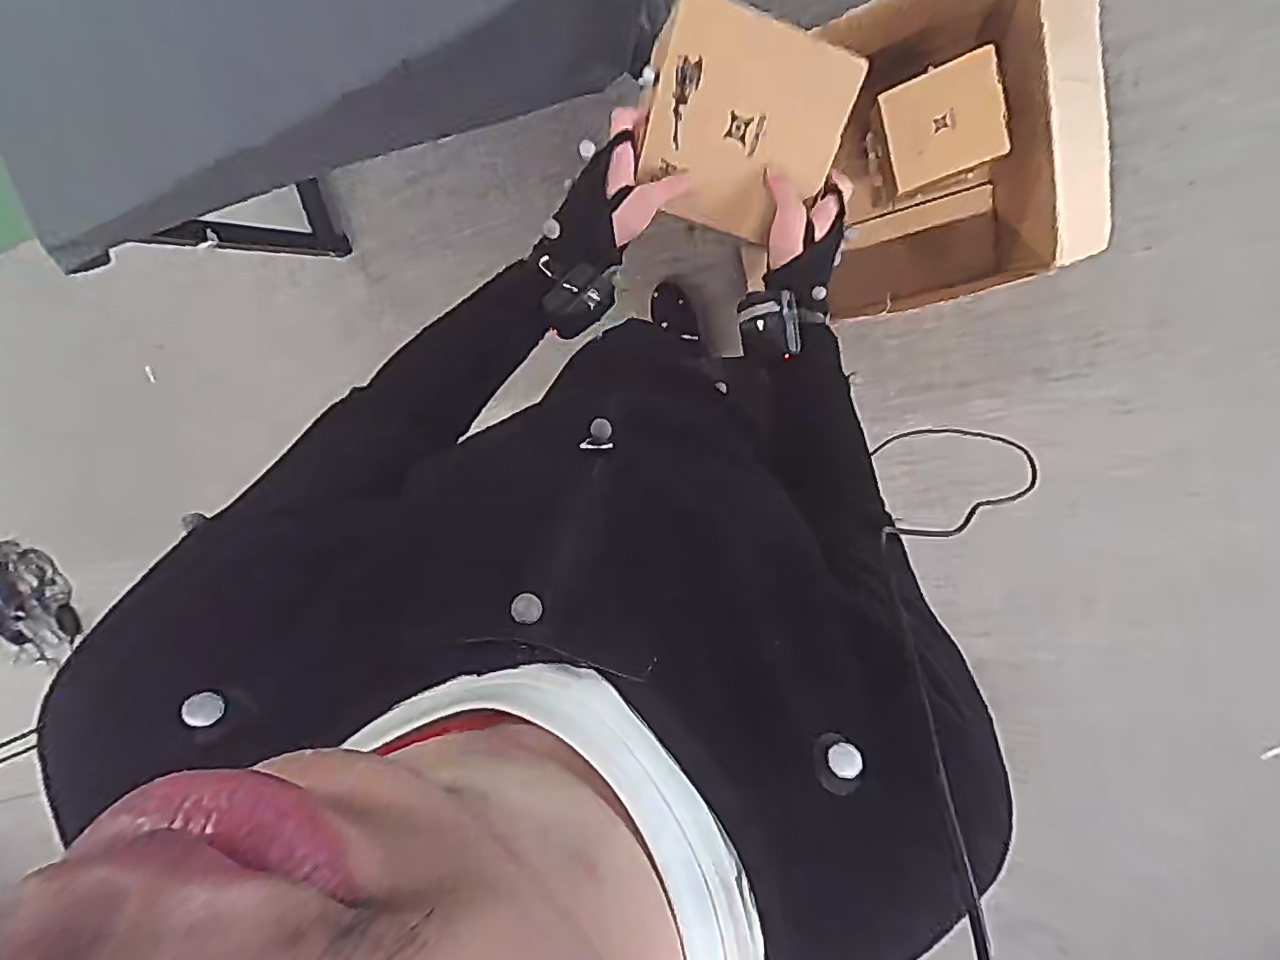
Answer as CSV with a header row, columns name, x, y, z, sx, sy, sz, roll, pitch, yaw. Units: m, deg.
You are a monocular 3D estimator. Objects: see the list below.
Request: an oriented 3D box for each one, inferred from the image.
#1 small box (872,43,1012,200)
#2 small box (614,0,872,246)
name,x,y,z,sx,sy,sz,roll,pitch,yaw
small box,0.529,-0.624,0.967,0.179,0.176,0.168,-13,106,22
small box,0.084,-0.354,0.543,0.179,0.176,0.168,13,115,-16
